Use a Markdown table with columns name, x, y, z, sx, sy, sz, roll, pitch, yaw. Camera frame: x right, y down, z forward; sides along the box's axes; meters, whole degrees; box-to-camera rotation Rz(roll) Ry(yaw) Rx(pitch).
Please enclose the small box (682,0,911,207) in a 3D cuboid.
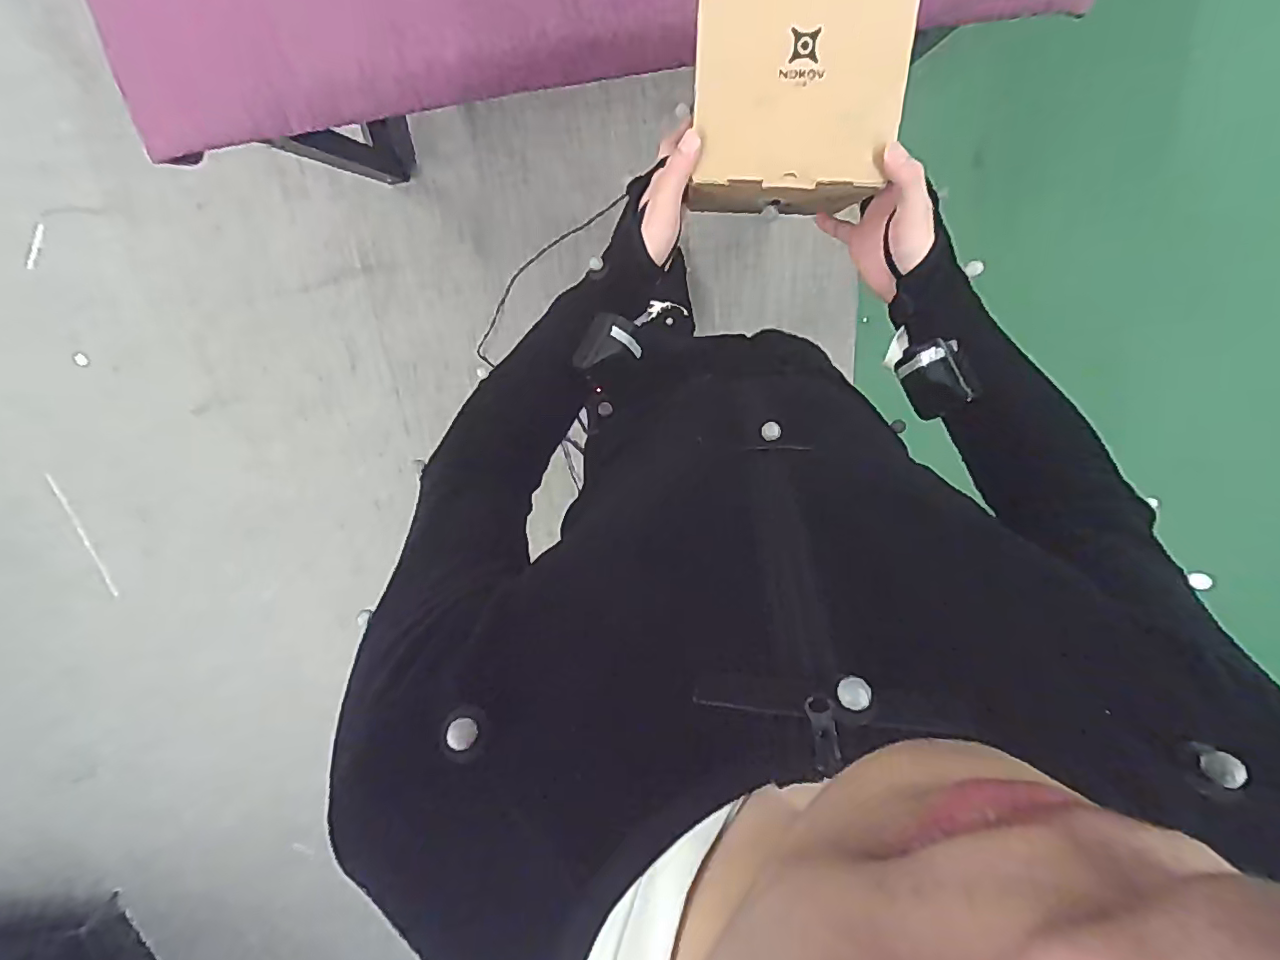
| name | x | y | z | sx | sy | sz | roll | pitch | yaw |
| --- | --- | --- | --- | --- | --- | --- | --- | --- | --- |
| small box | 0.127 | -0.356 | 0.496 | 0.168 | 0.176 | 0.179 | 3 | 110 | 4 |
